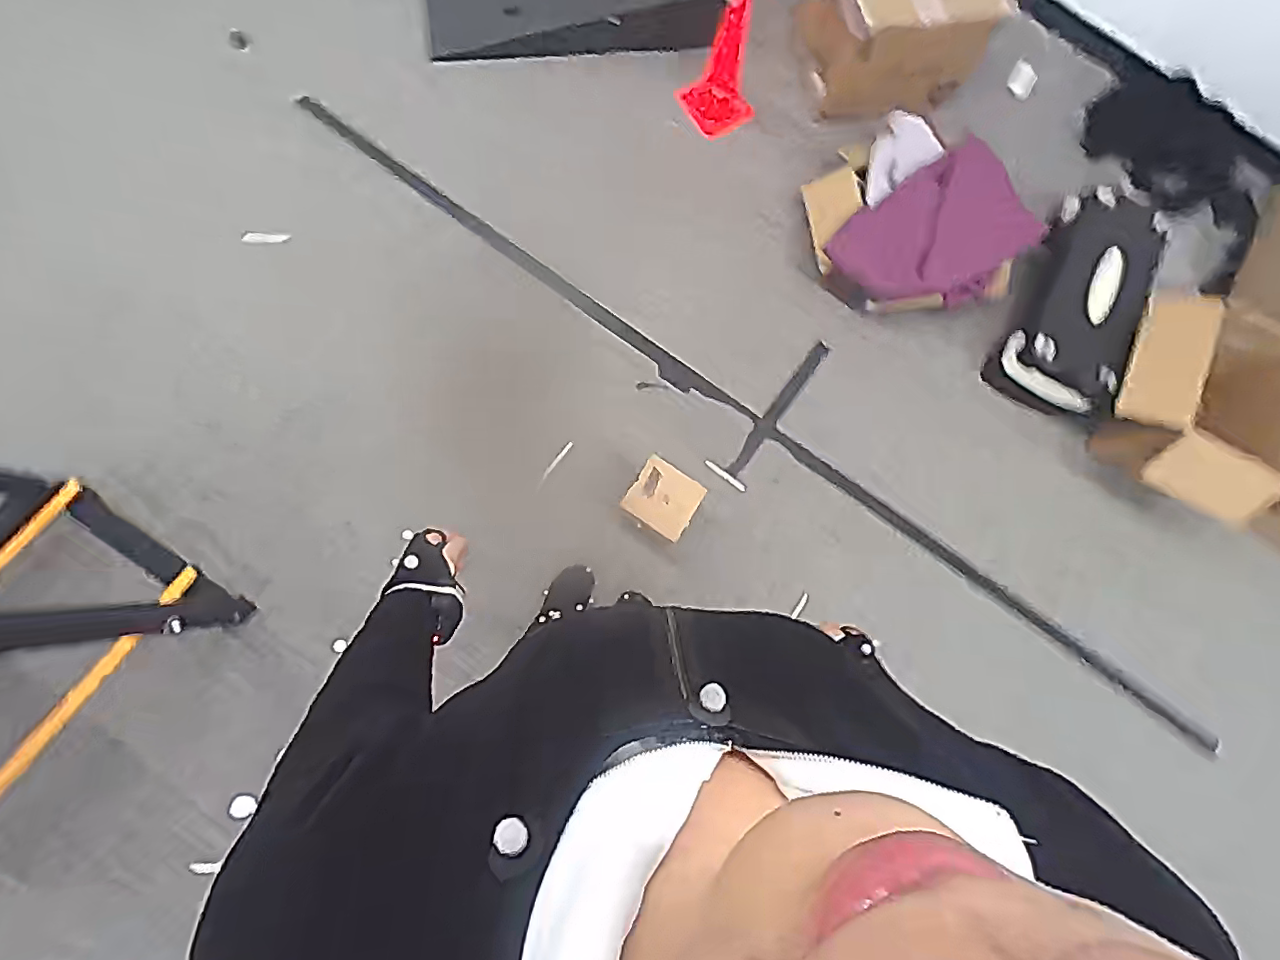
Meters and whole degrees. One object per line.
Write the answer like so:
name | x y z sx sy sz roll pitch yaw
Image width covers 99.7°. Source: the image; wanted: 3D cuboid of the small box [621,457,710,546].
small box | 0.060 0.067 1.458 0.179 0.176 0.168 34 79 1
